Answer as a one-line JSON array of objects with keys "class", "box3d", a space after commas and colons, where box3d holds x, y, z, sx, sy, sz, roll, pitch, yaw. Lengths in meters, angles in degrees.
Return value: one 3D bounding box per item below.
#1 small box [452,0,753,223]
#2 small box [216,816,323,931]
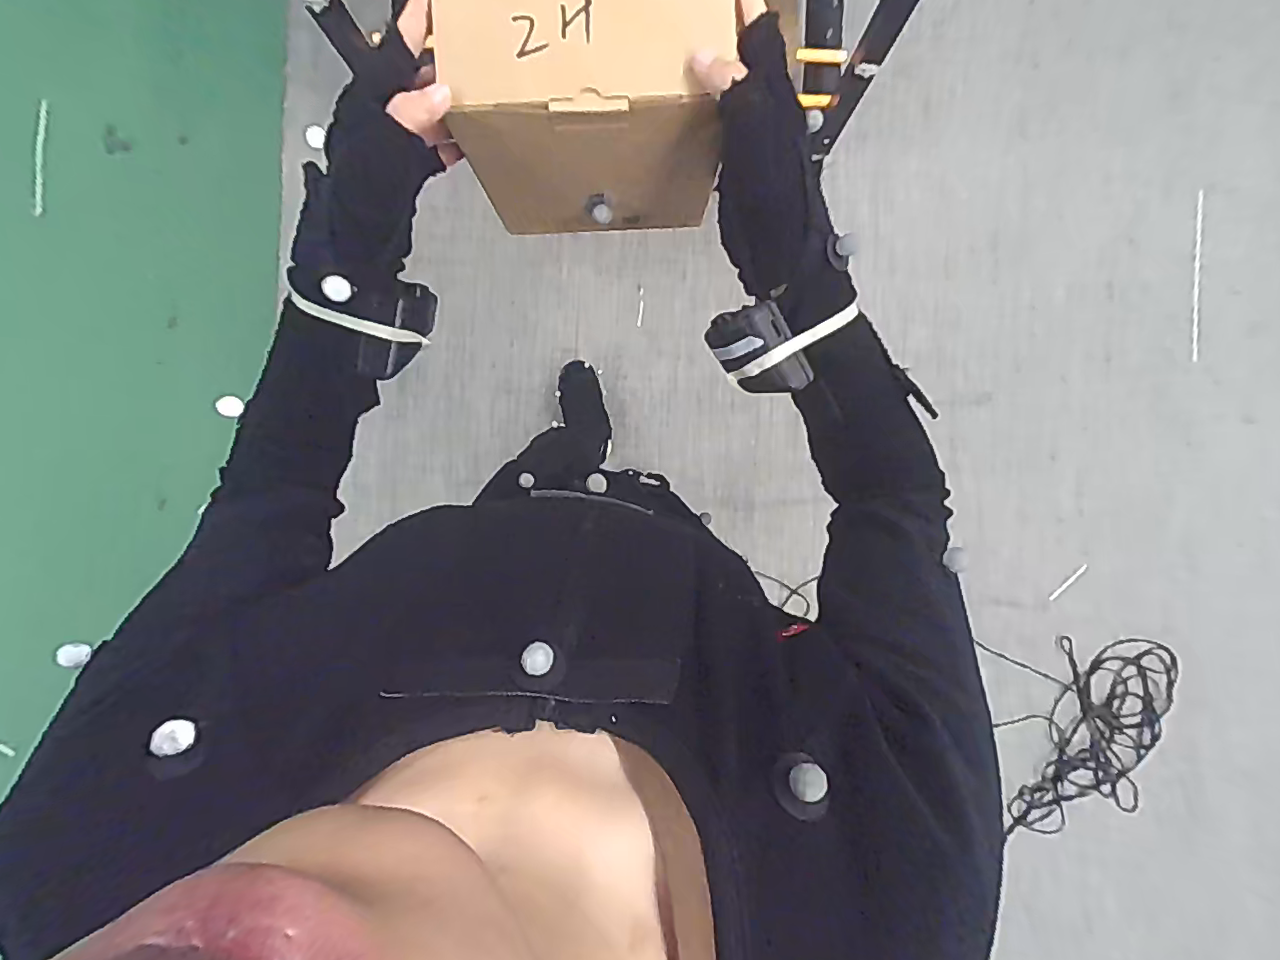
[{"class": "small box", "box3d": [-0.023, -0.304, 0.375, 0.168, 0.176, 0.179, -2, 91, 0]}, {"class": "small box", "box3d": [-0.953, 1.015, 1.404, 0.168, 0.176, 0.179, 4, 90, -1]}]
